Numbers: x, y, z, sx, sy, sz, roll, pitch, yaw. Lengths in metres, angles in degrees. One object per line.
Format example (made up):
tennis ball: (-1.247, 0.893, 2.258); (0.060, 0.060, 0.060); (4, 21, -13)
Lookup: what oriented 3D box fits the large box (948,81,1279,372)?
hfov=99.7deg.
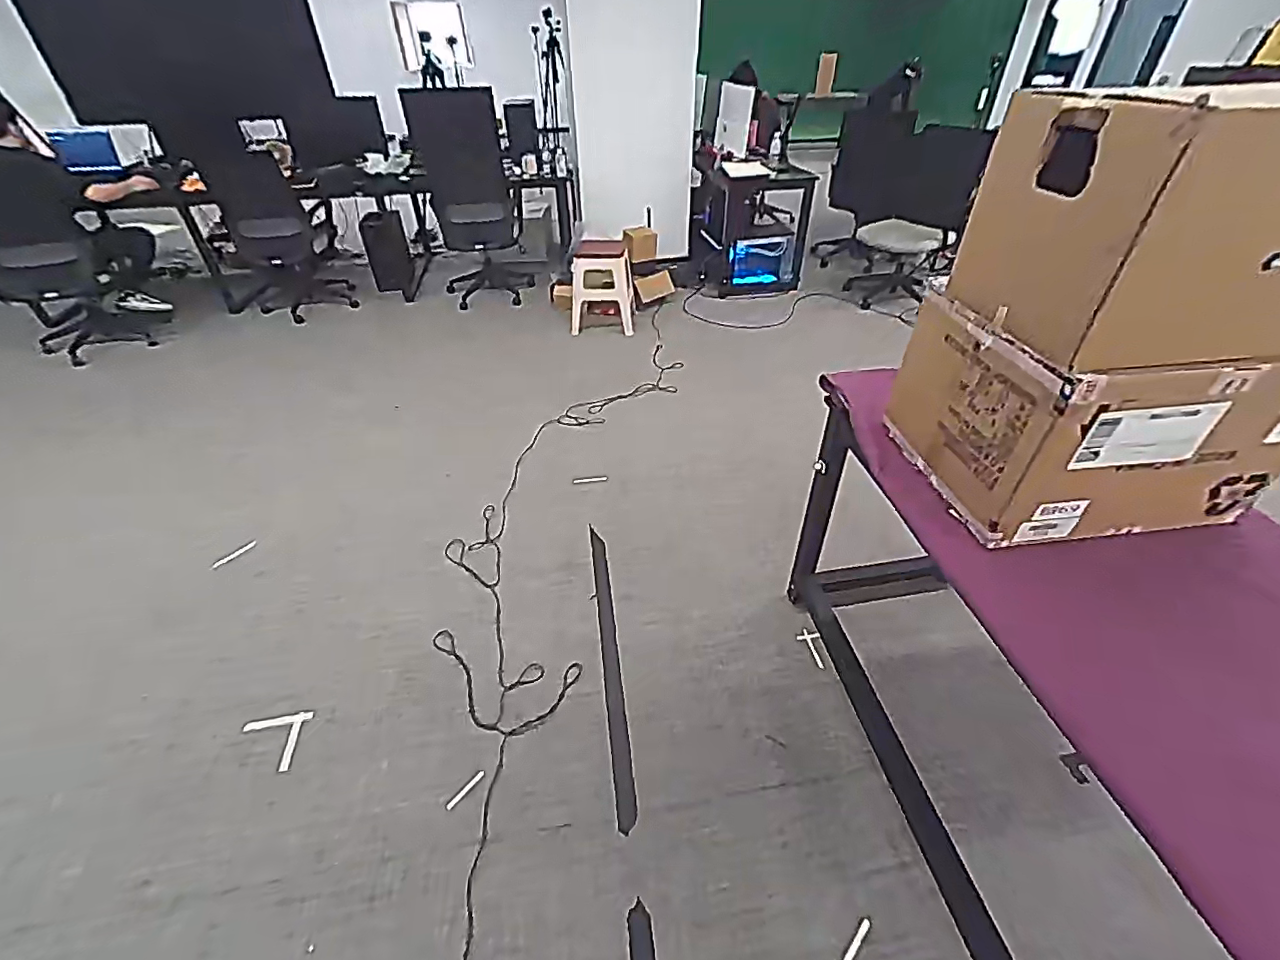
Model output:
large box: (0.767, -0.379, 0.793); (0.408, 0.320, 0.320); (-7, 38, -6)
